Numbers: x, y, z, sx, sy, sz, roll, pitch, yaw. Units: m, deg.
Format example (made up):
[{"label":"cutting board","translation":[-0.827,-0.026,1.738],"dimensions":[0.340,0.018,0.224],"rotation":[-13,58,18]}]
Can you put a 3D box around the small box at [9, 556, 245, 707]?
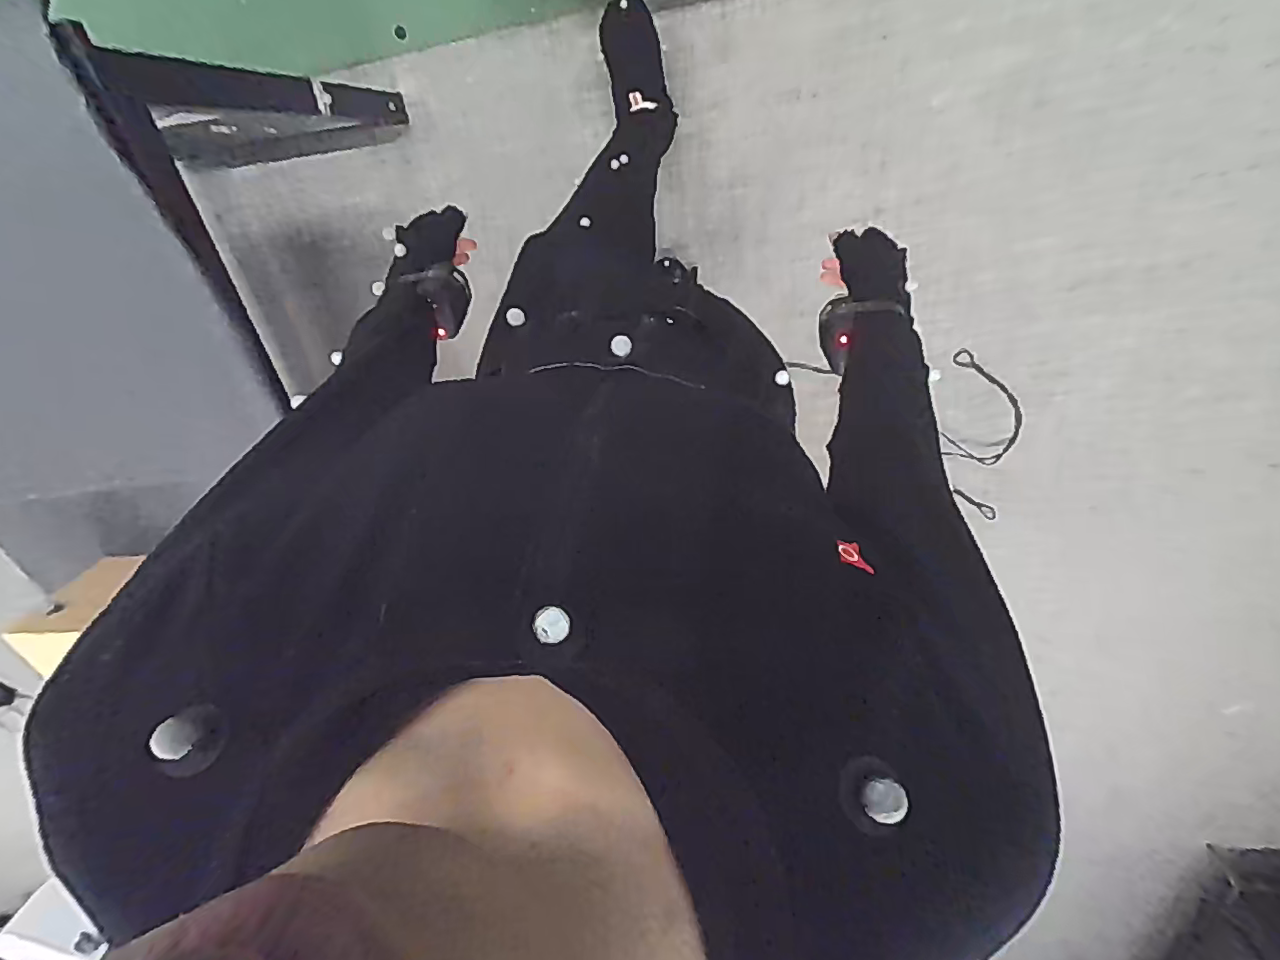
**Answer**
[{"label":"small box","translation":[-0.792,0.236,0.860],"dimensions":[0.179,0.176,0.168],"rotation":[-3,122,7]}]
